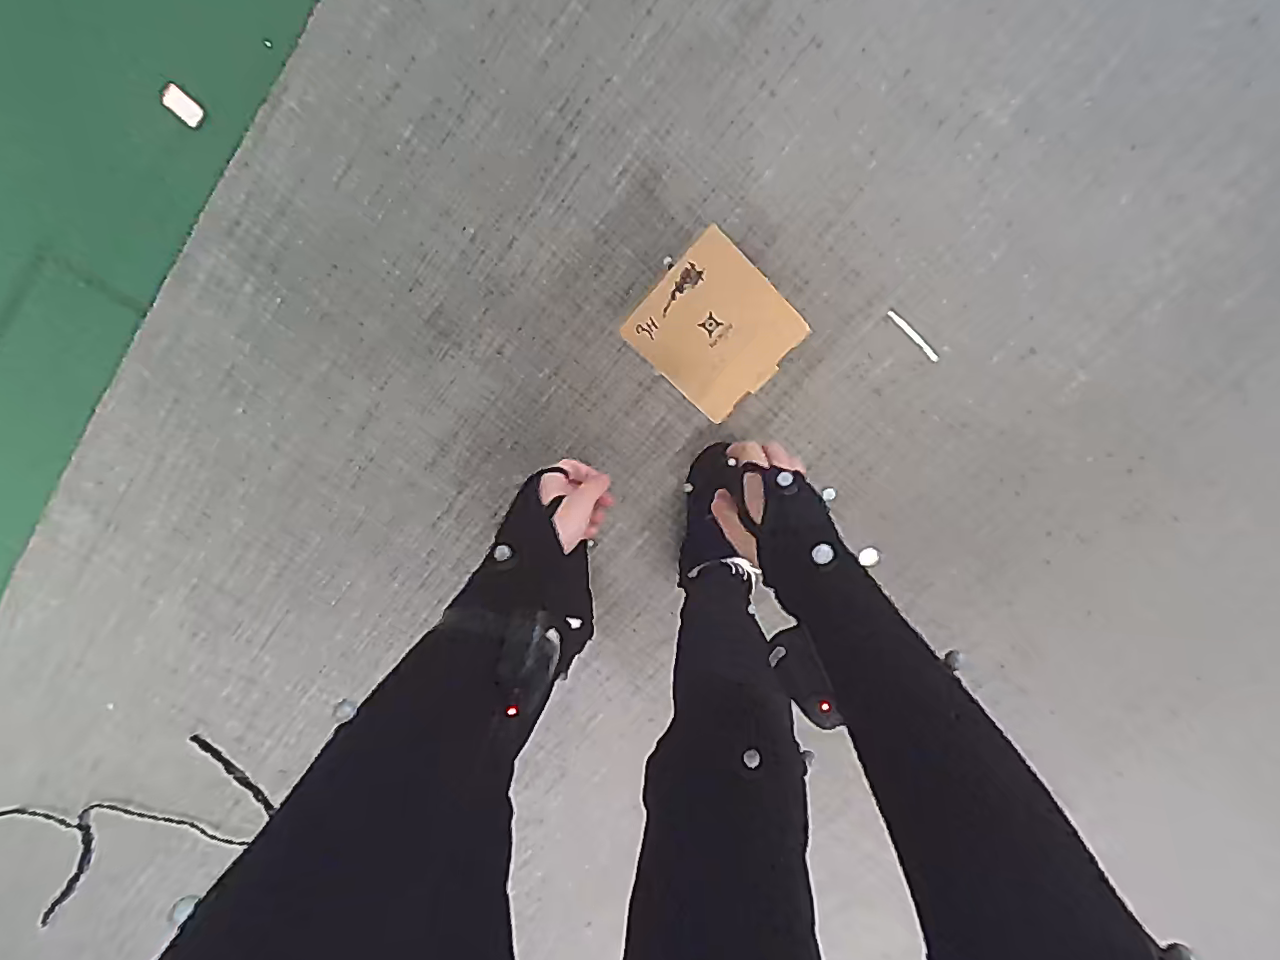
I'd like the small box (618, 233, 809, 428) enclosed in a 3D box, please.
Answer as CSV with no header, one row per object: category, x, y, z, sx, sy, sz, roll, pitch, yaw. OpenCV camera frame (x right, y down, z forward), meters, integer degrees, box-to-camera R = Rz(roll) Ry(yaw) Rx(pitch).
small box,0.088,-0.202,0.725,0.179,0.176,0.168,40,104,-14
